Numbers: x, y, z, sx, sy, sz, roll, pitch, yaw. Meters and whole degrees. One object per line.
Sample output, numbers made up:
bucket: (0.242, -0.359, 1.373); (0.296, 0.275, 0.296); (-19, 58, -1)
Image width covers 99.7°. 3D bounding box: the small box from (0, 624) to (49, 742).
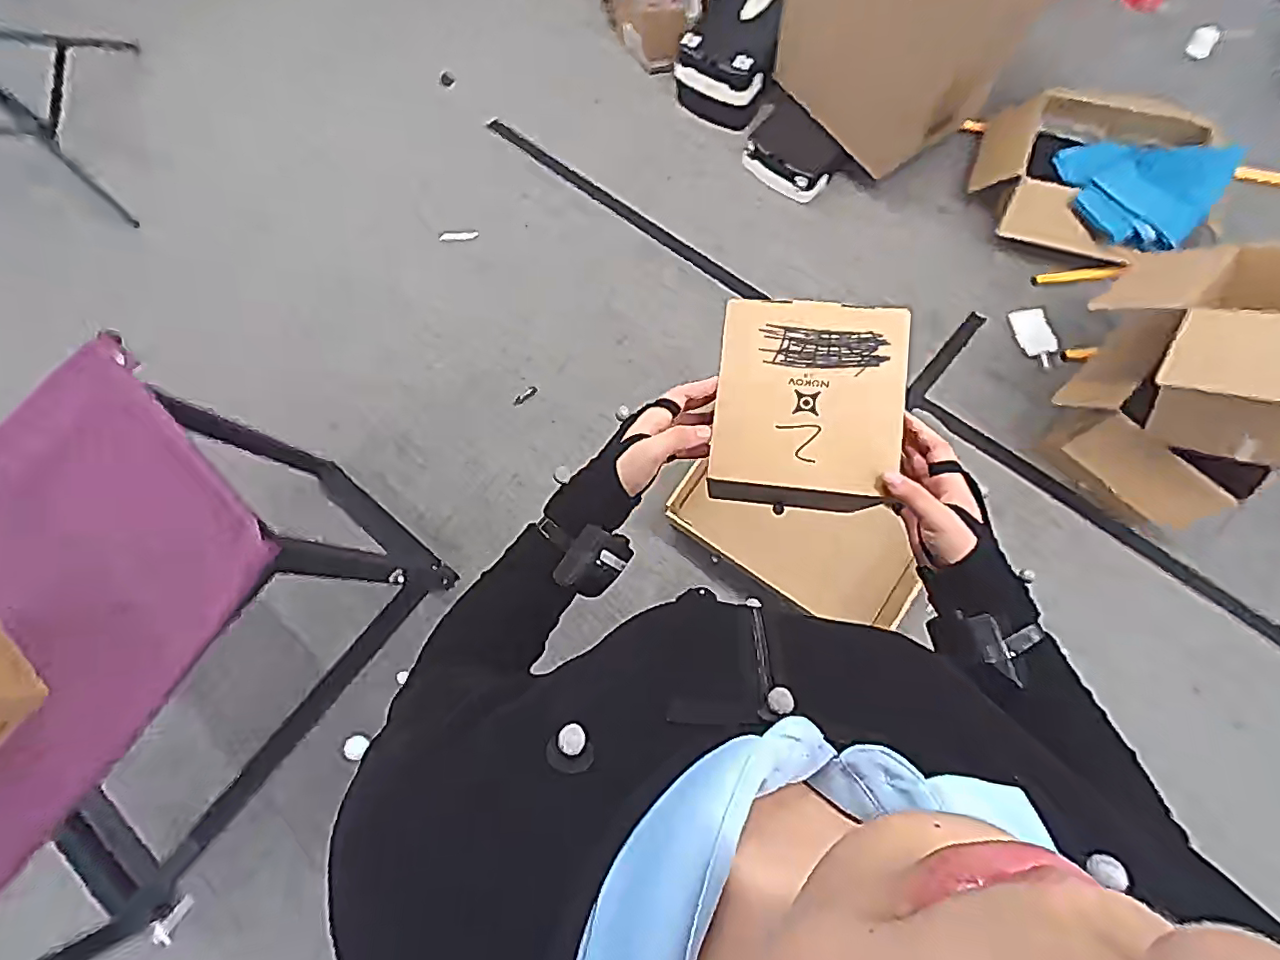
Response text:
small box: (-1.051, 0.316, 0.788); (0.179, 0.176, 0.168); (40, 83, 14)
